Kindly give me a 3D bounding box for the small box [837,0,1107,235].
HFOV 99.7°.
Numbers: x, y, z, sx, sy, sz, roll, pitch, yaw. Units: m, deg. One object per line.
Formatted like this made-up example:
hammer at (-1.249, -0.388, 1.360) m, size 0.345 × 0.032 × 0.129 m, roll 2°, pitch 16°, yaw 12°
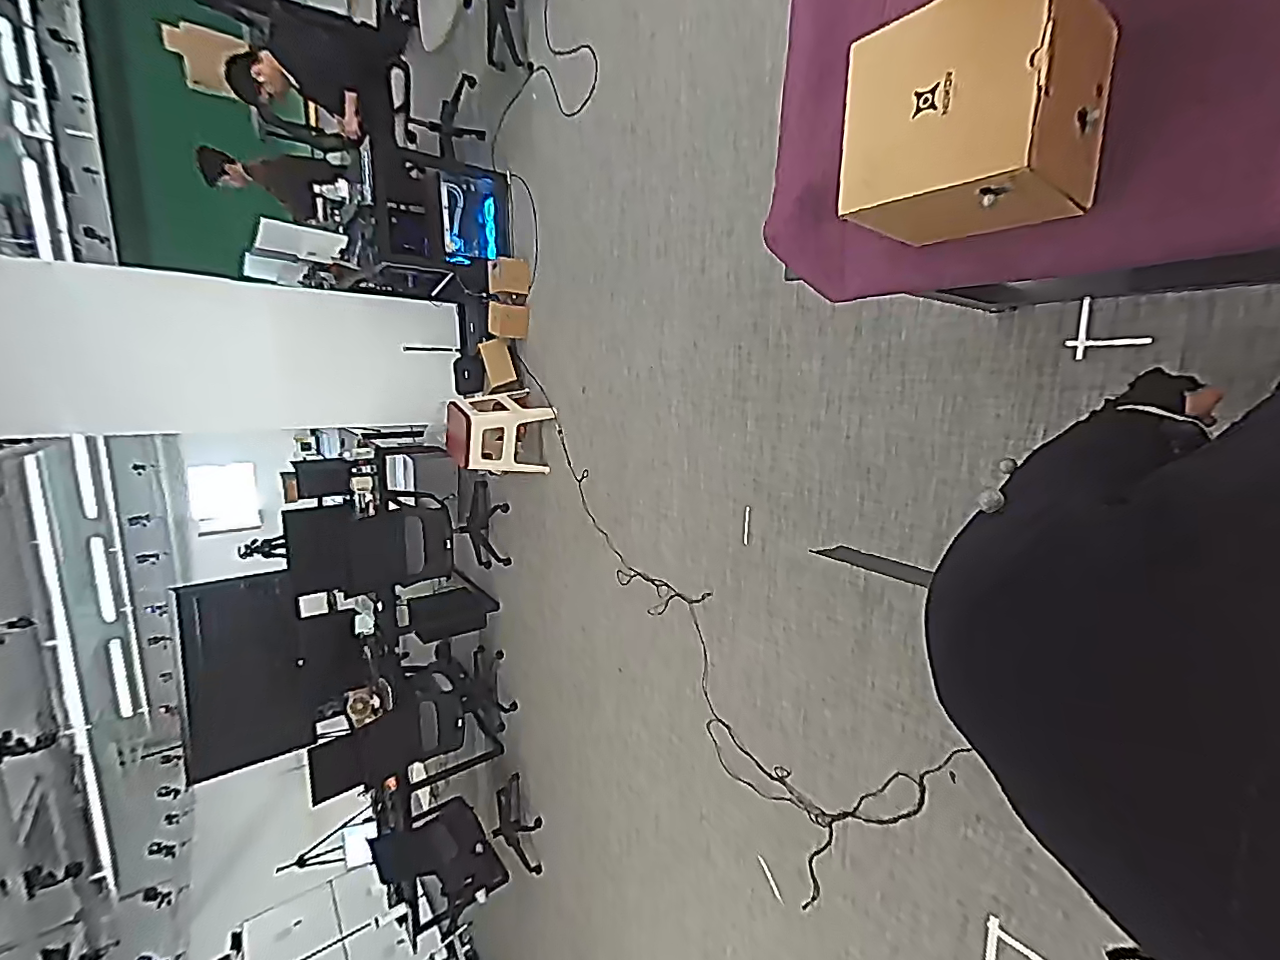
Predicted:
small box at (0.328, -0.362, 0.545) m, size 0.179 × 0.176 × 0.168 m, roll 12°, pitch 105°, yaw 51°
